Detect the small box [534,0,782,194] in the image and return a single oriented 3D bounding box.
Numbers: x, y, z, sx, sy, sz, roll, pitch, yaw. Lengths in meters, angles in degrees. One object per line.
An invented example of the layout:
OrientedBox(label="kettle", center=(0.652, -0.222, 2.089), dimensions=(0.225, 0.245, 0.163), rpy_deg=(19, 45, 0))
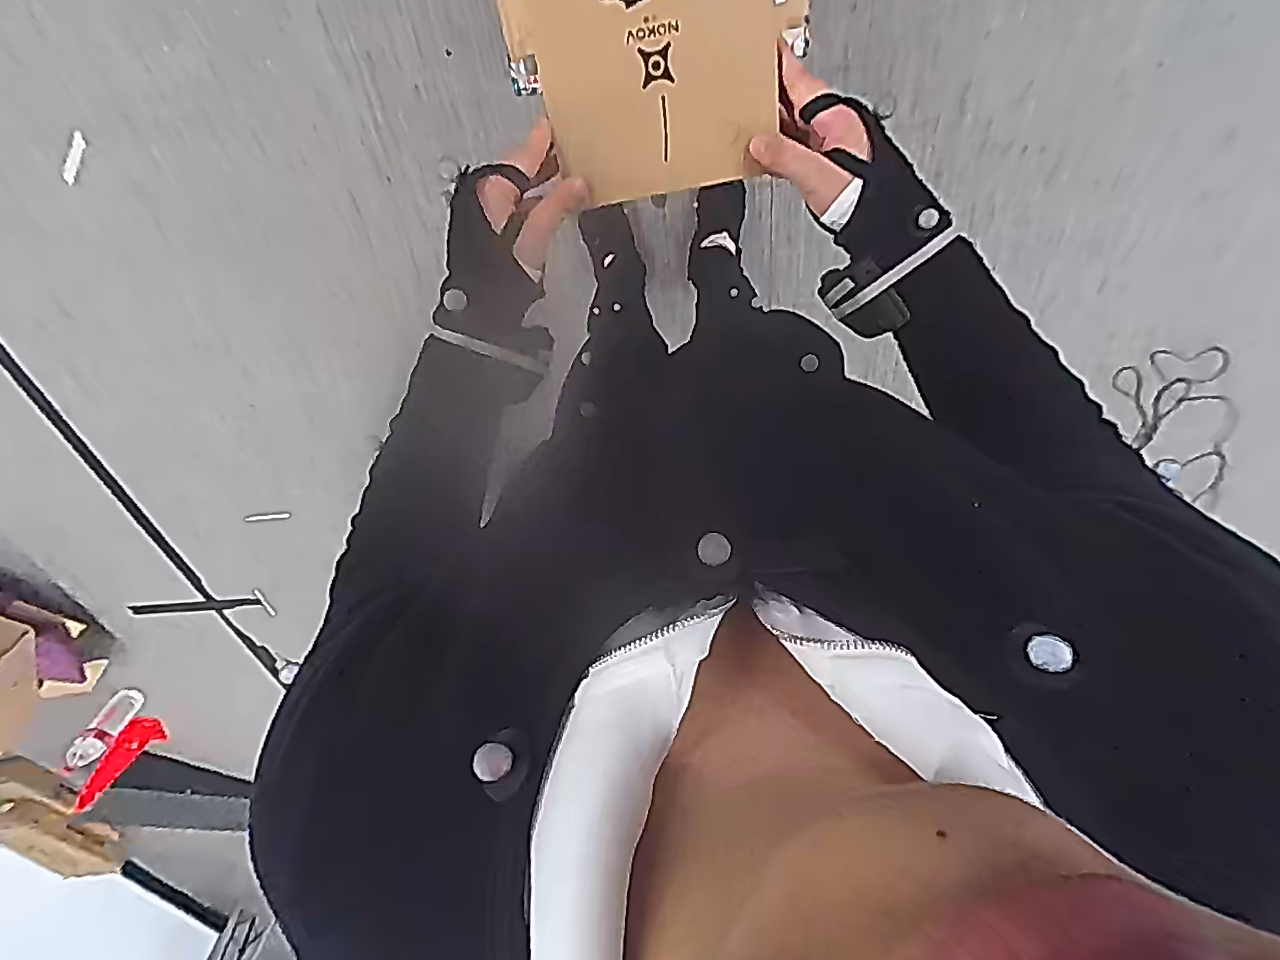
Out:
OrientedBox(label="small box", center=(0.011, -0.346, 0.437), dimensions=(0.168, 0.176, 0.179), rpy_deg=(-9, 122, 4))
